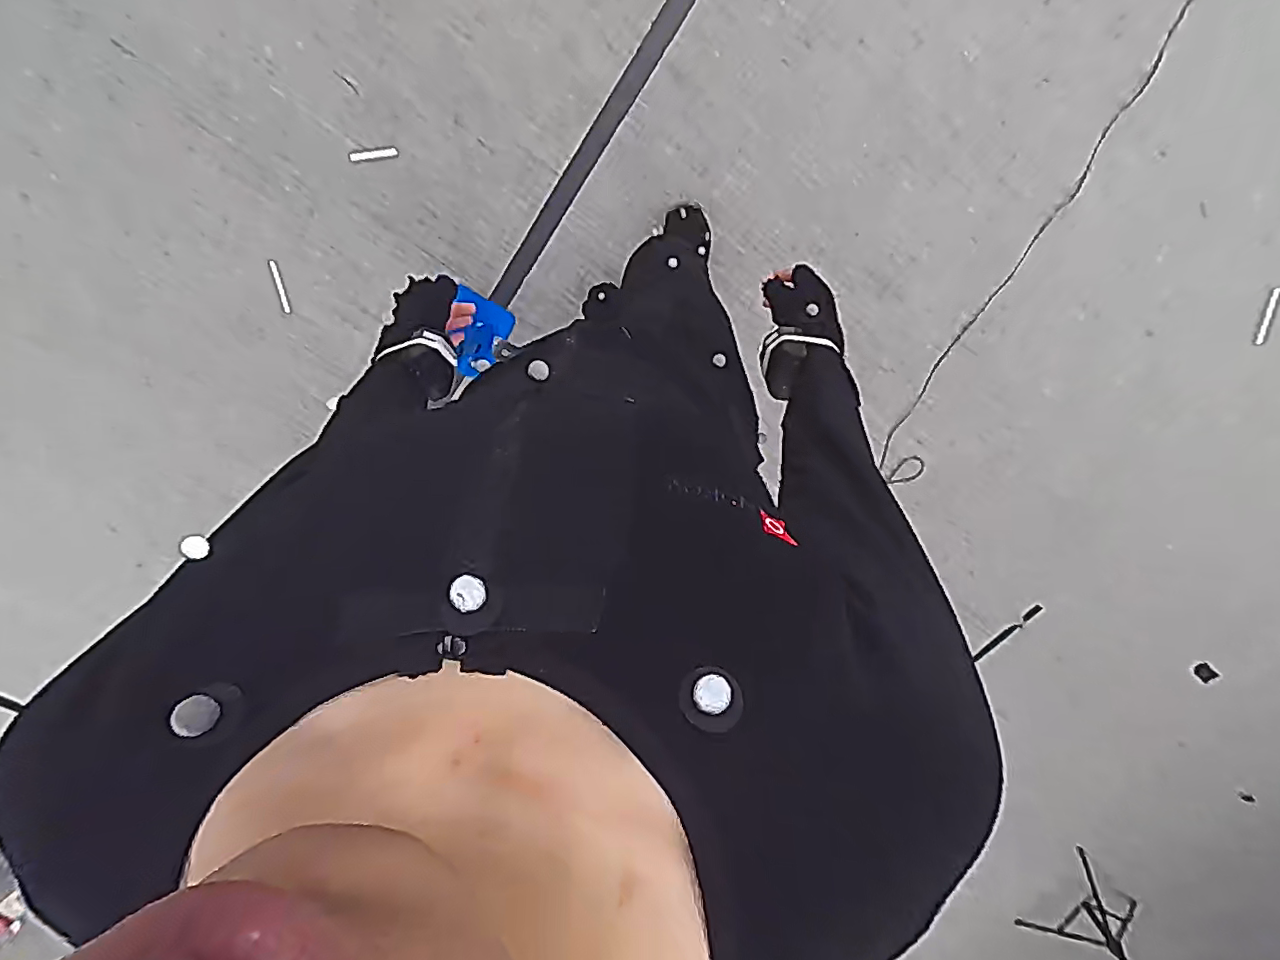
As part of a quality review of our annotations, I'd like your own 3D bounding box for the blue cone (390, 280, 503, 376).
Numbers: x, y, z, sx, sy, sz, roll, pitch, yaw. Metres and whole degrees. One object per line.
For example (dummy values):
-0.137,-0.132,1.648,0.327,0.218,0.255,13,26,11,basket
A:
-0.451,-0.316,1.202,0.192,0.380,0.193,30,108,-12,blue cone
